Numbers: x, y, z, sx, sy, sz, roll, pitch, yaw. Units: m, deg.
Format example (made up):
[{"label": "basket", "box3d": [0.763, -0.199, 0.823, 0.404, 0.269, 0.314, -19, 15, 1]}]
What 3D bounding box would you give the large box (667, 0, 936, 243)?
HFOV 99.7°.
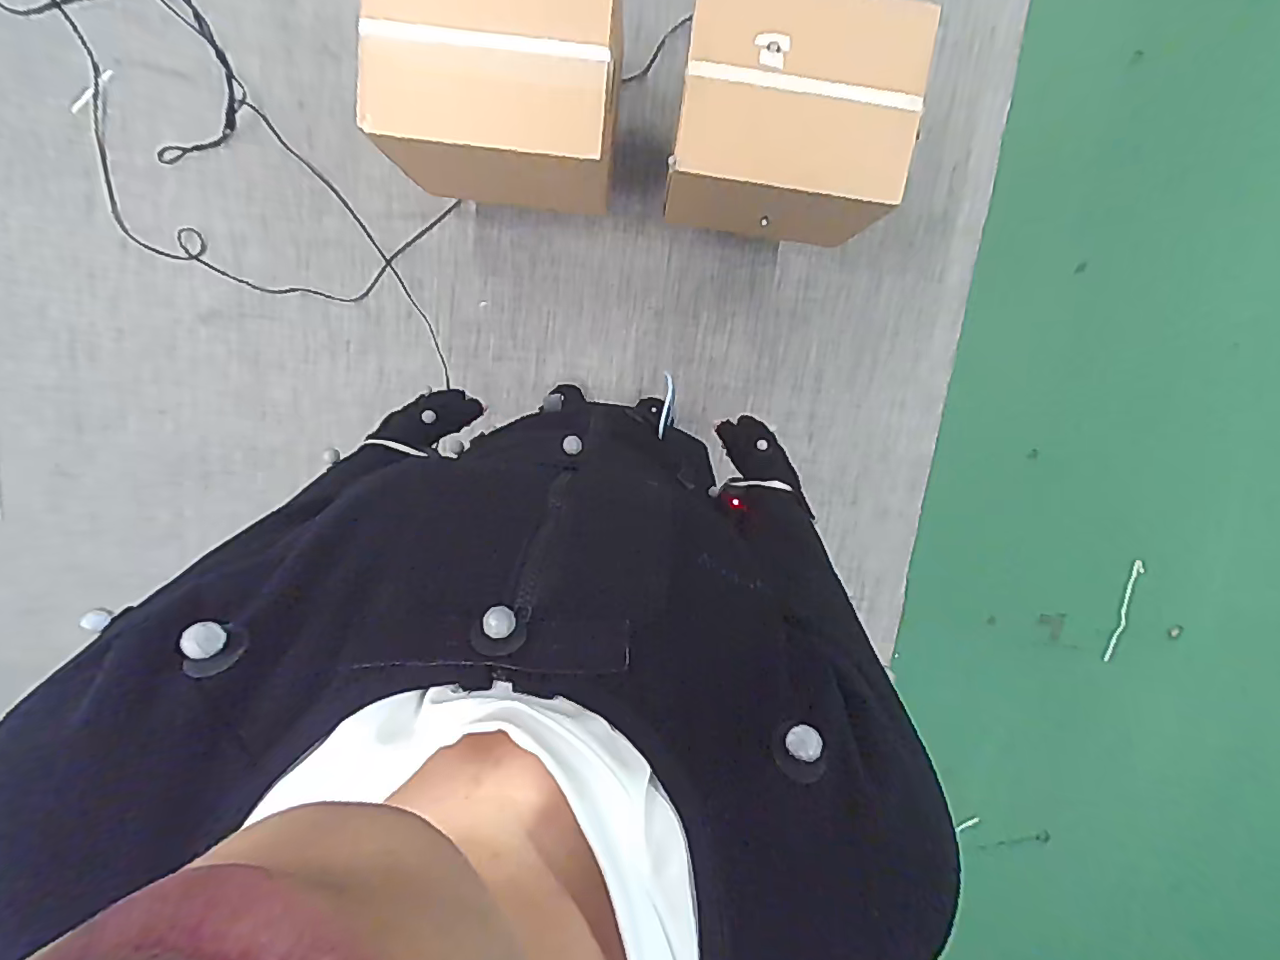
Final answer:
[{"label": "large box", "box3d": [0.280, -0.686, 1.066, 0.408, 0.320, 0.320, 8, 100, -2]}]
